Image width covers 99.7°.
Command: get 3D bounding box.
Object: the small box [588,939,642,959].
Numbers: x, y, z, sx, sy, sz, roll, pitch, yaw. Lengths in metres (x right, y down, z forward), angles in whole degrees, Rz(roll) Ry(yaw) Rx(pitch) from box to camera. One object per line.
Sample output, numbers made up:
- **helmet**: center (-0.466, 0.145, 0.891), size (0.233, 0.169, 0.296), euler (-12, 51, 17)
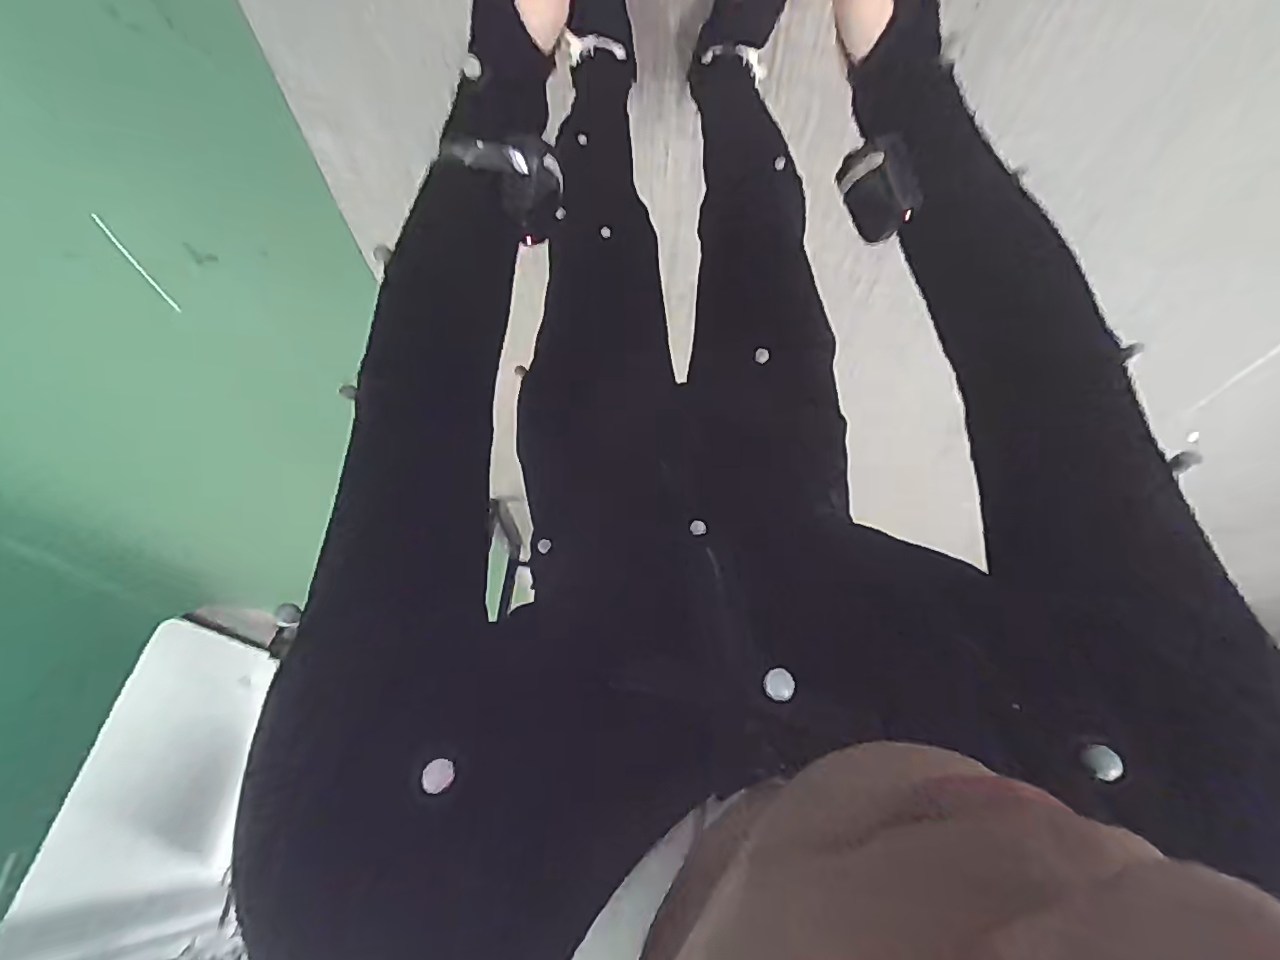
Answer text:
- **small box**: center (-0.083, 1.627, 1.766), size (0.179, 0.176, 0.168), euler (1, 151, 2)
